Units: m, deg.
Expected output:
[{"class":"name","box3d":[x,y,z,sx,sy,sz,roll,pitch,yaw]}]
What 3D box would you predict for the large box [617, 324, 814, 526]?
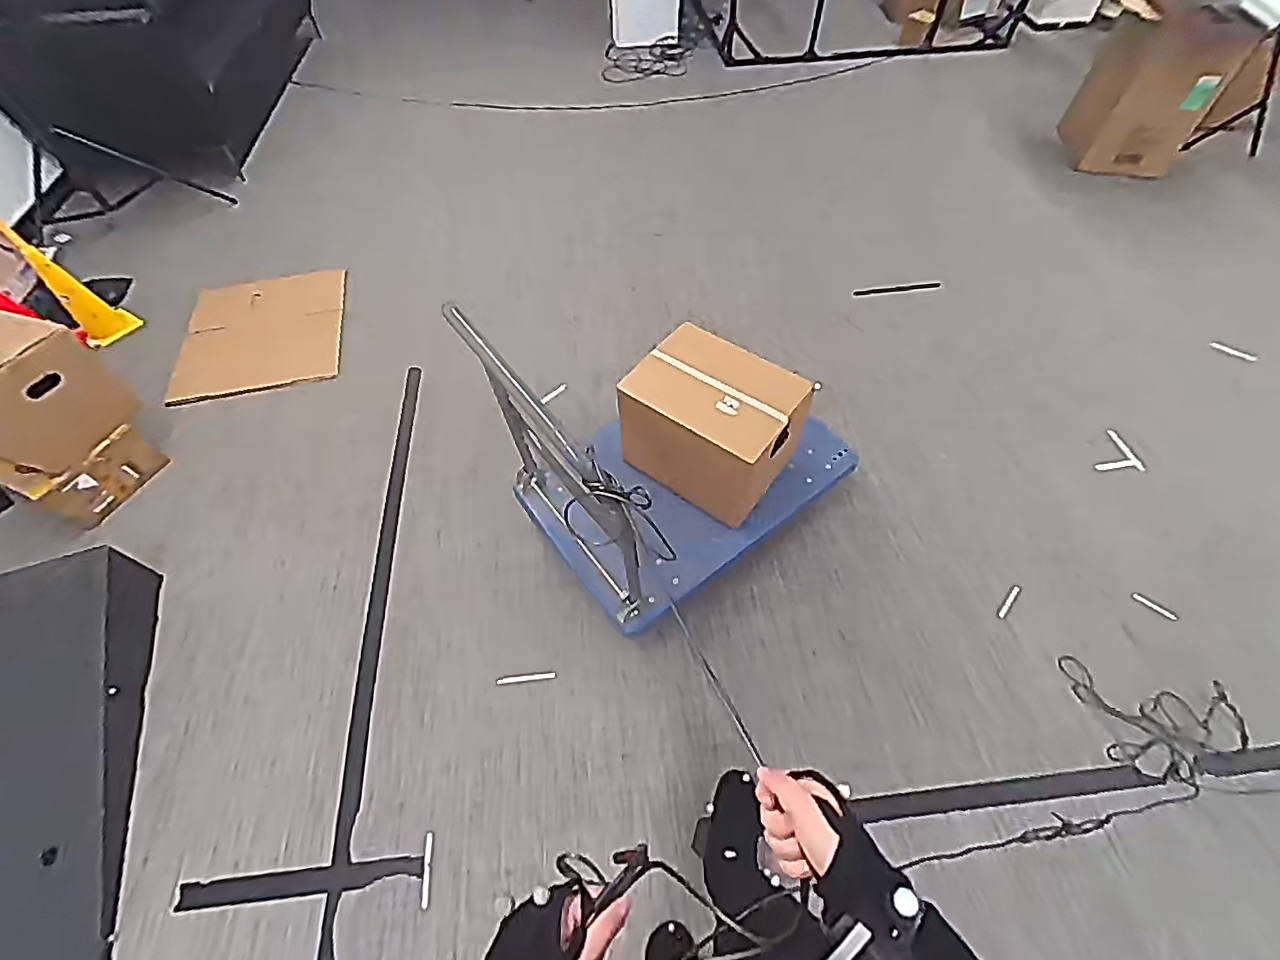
[{"class":"large box","box3d":[0.186,-0.148,1.469,0.408,0.320,0.320,32,63,20]}]
